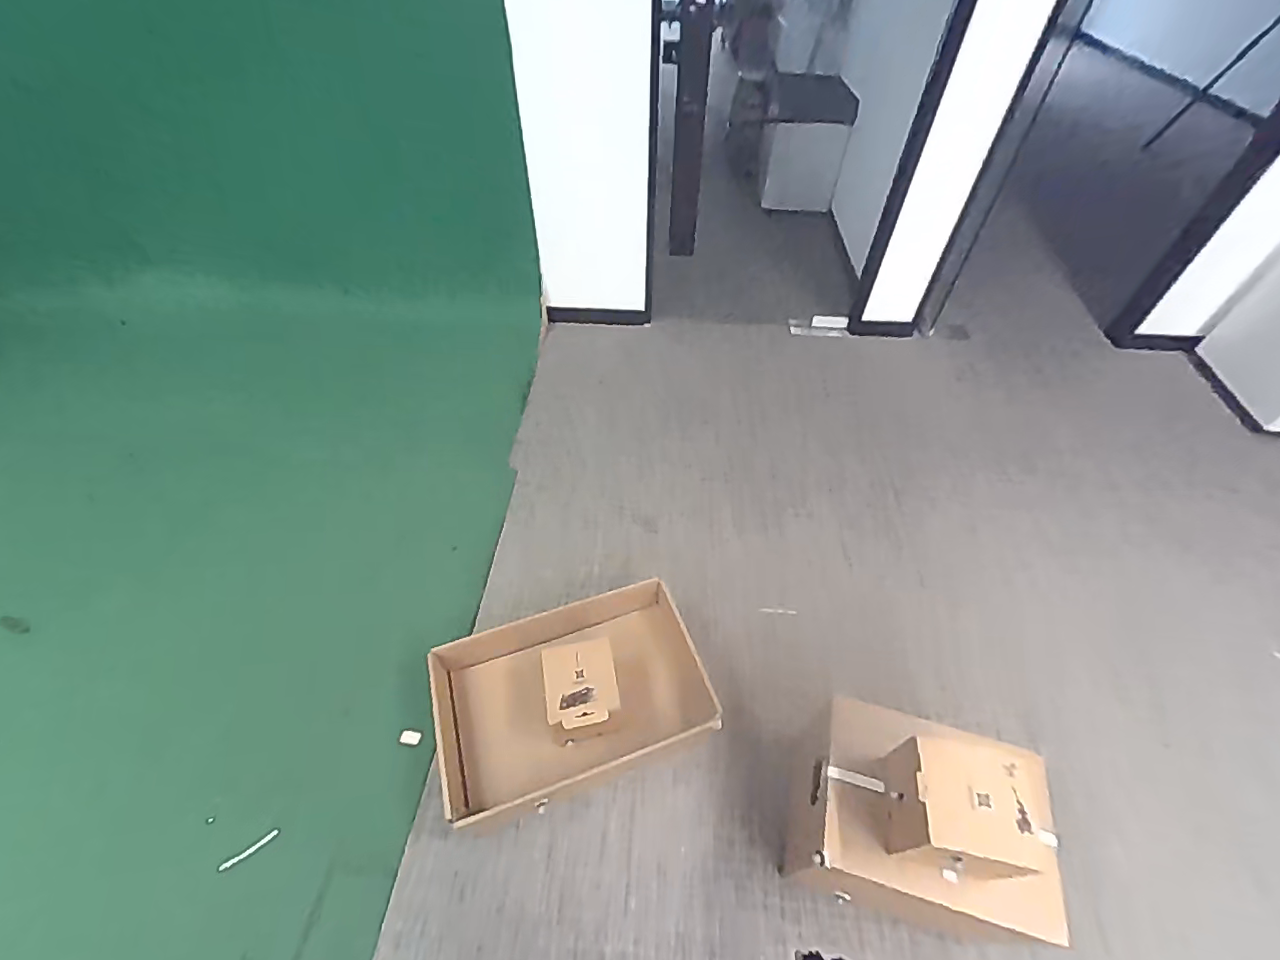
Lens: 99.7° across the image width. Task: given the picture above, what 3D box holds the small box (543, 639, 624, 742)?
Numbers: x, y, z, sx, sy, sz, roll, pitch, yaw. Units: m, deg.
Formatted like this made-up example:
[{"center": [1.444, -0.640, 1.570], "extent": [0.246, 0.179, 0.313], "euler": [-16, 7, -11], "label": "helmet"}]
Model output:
[{"center": [-0.136, 0.514, 1.307], "extent": [0.168, 0.176, 0.179], "euler": [-10, 49, -8], "label": "small box"}]

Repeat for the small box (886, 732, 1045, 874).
[{"center": [0.538, 0.558, 0.930], "extent": [0.179, 0.176, 0.168], "euler": [8, 51, 7], "label": "small box"}]
